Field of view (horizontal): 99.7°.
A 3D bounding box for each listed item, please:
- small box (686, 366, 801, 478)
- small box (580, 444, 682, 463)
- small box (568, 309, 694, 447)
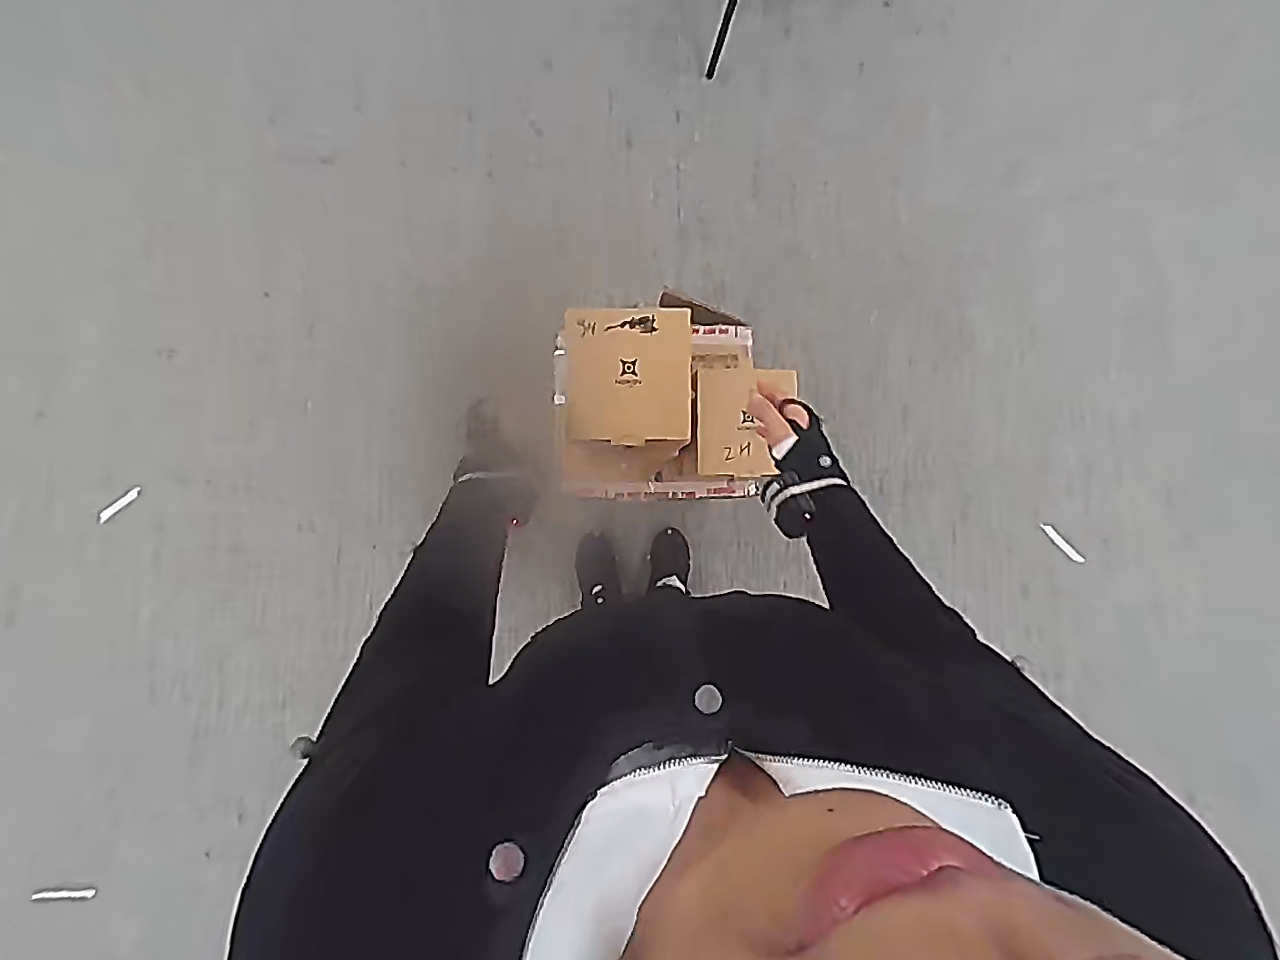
[{"bbox_3d":[0.173,-0.094,0.950,0.168,0.176,0.179,0,89,-3],"label":"small box"},{"bbox_3d":[-0.019,-0.122,0.943,0.168,0.176,0.179,-2,91,-1],"label":"small box"},{"bbox_3d":[-0.012,-0.137,0.780,0.168,0.176,0.179,-1,91,-1],"label":"small box"}]
